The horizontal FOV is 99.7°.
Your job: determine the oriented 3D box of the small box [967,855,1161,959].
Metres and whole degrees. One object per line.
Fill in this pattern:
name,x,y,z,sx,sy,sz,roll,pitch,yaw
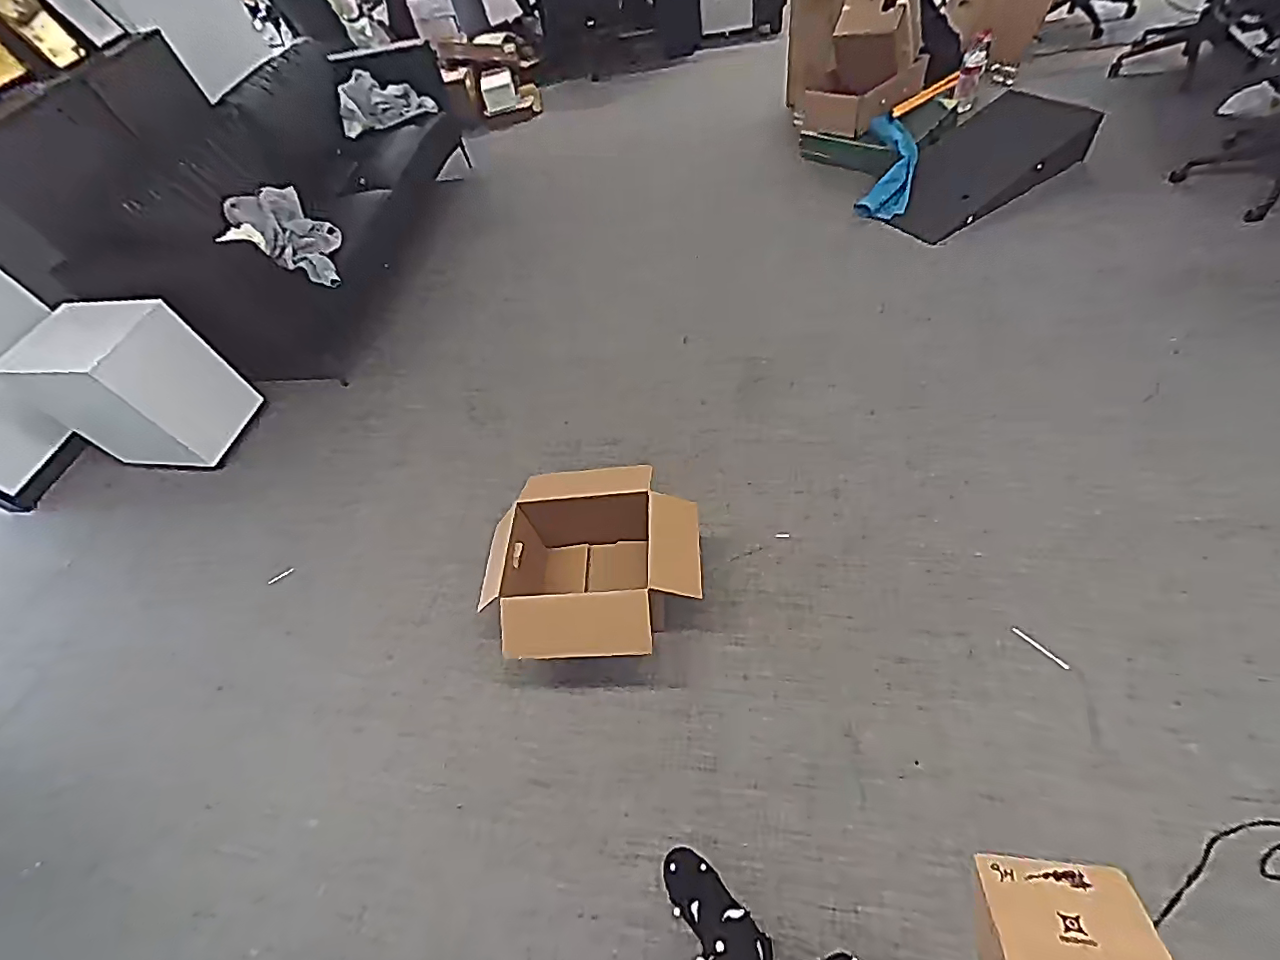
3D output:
small box,0.497,0.592,0.631,0.168,0.176,0.179,-5,17,21
